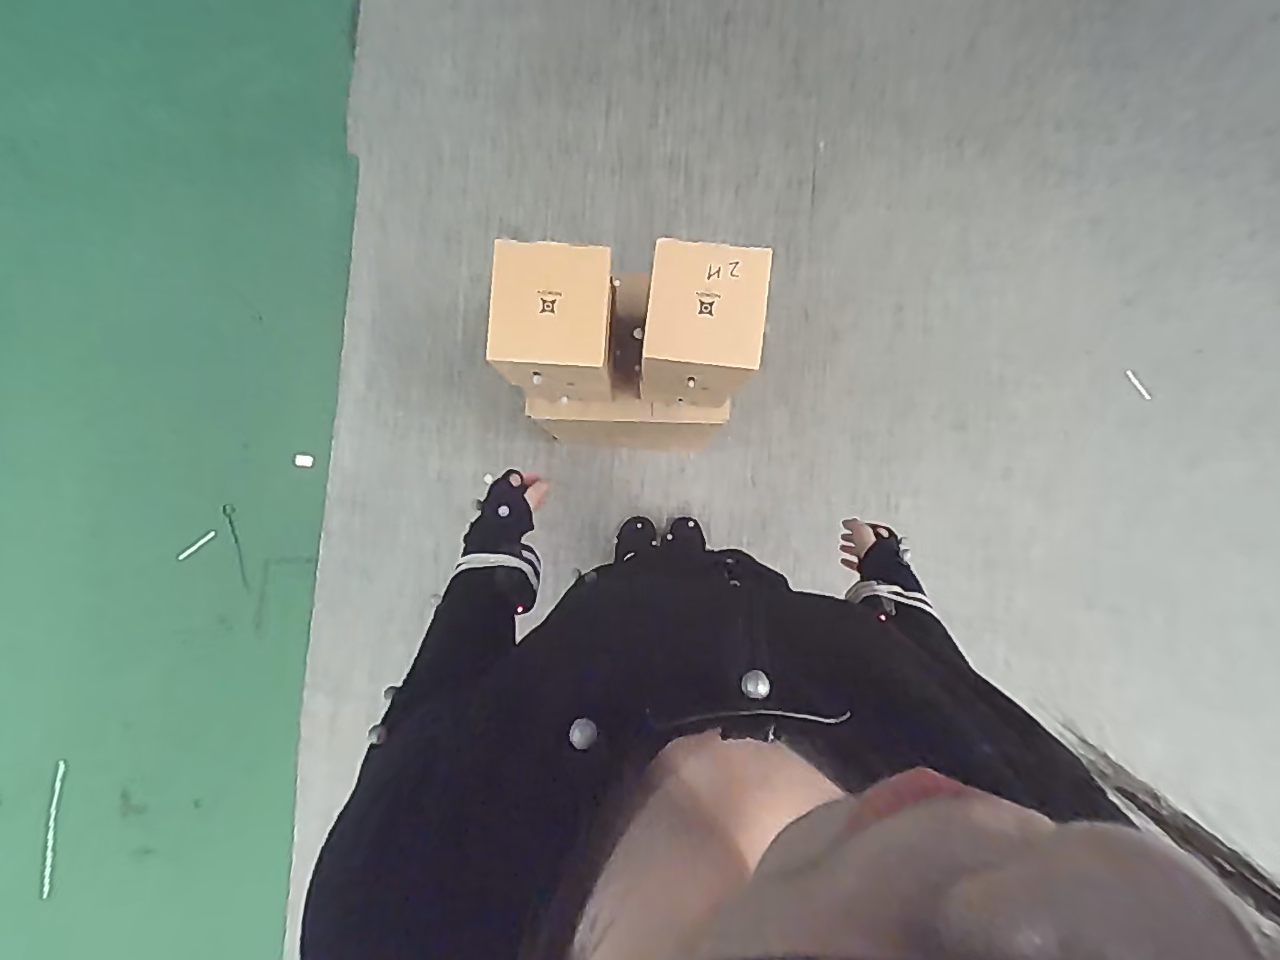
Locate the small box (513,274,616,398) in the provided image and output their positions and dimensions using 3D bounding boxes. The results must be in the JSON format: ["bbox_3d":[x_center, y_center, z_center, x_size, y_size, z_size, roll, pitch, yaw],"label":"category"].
[{"bbox_3d":[-0.132,-0.260,1.009,0.168,0.176,0.179,4,89,-1],"label":"small box"}]

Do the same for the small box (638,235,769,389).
[{"bbox_3d":[0.093,-0.249,0.841,0.168,0.176,0.179,8,88,1],"label":"small box"}]
